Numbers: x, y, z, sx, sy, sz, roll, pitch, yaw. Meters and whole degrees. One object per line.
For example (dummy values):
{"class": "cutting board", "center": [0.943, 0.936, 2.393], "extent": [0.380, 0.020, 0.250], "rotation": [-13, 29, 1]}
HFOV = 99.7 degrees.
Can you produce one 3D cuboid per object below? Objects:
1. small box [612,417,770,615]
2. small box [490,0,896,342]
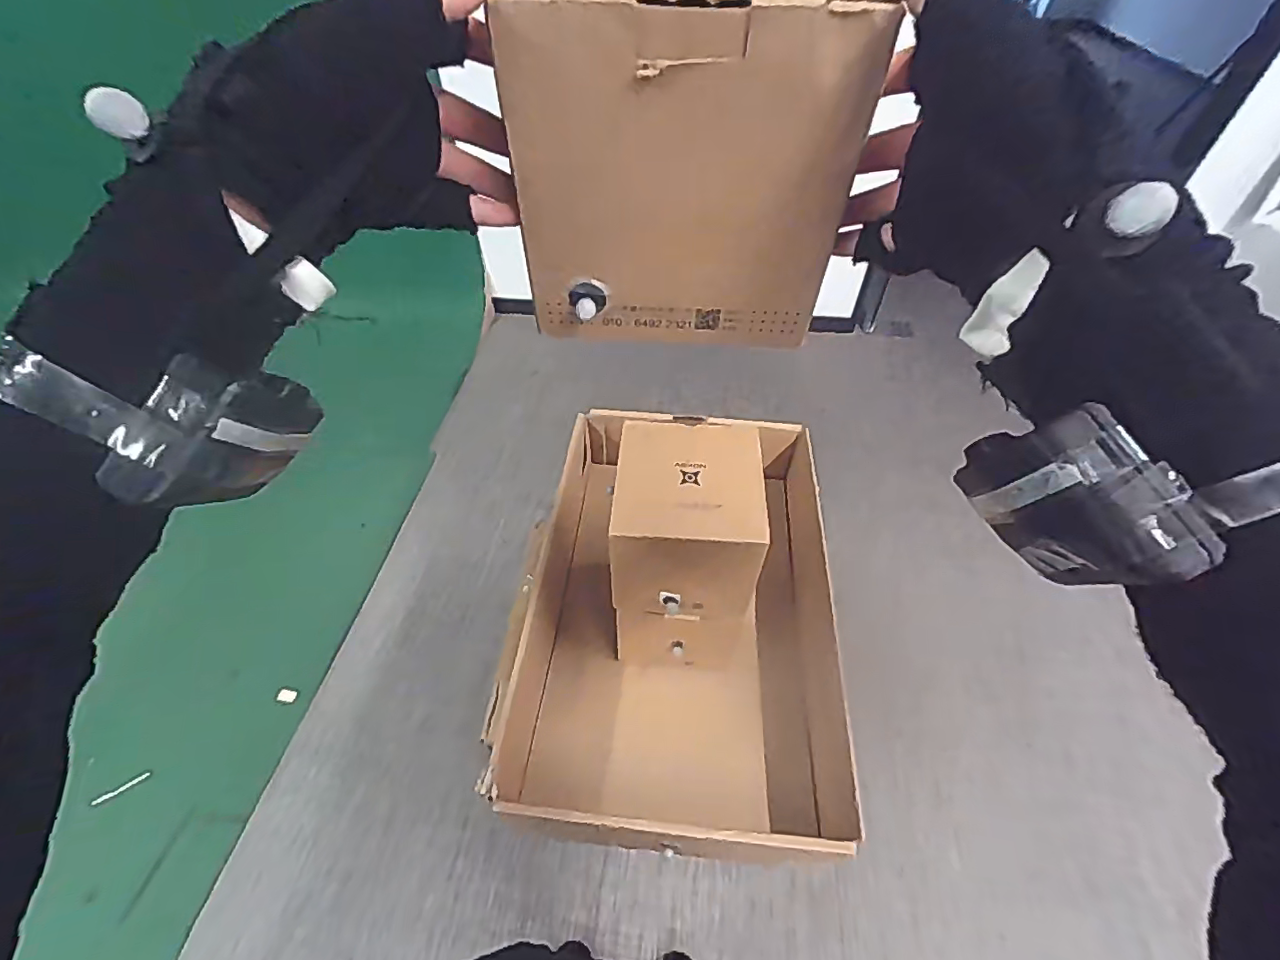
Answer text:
{"class": "small box", "center": [0.057, 0.045, 0.667], "extent": [0.168, 0.176, 0.179], "rotation": [2, 50, 3]}
{"class": "small box", "center": [0.024, -0.202, 0.326], "extent": [0.168, 0.176, 0.179], "rotation": [3, 53, 1]}
